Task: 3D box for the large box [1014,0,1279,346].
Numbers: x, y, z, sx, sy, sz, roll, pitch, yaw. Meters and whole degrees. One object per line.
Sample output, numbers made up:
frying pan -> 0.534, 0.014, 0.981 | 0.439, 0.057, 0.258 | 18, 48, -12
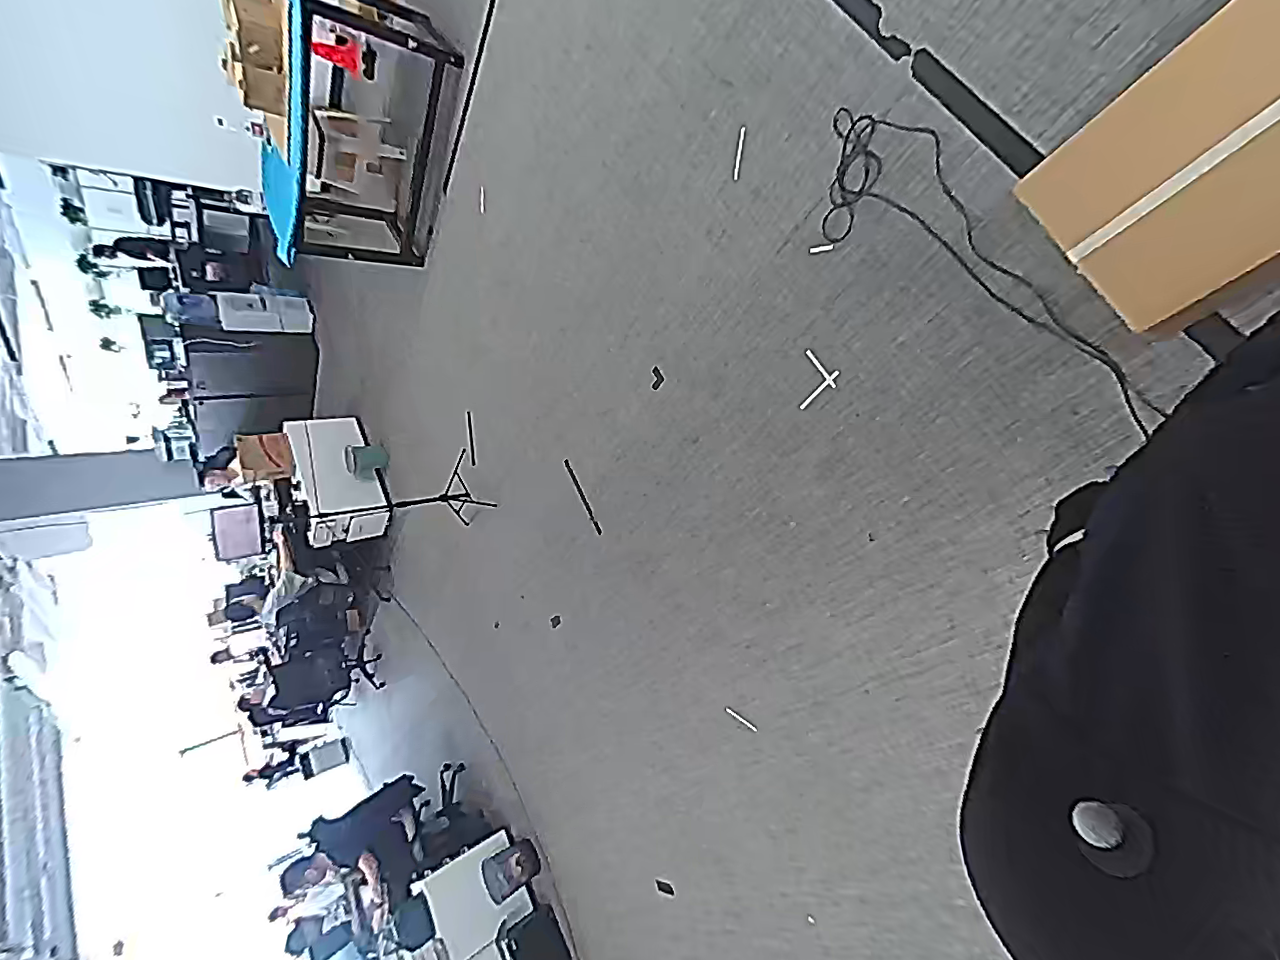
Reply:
large box -> 0.902, -0.454, 0.823 | 0.408, 0.320, 0.320 | -43, 65, 44
